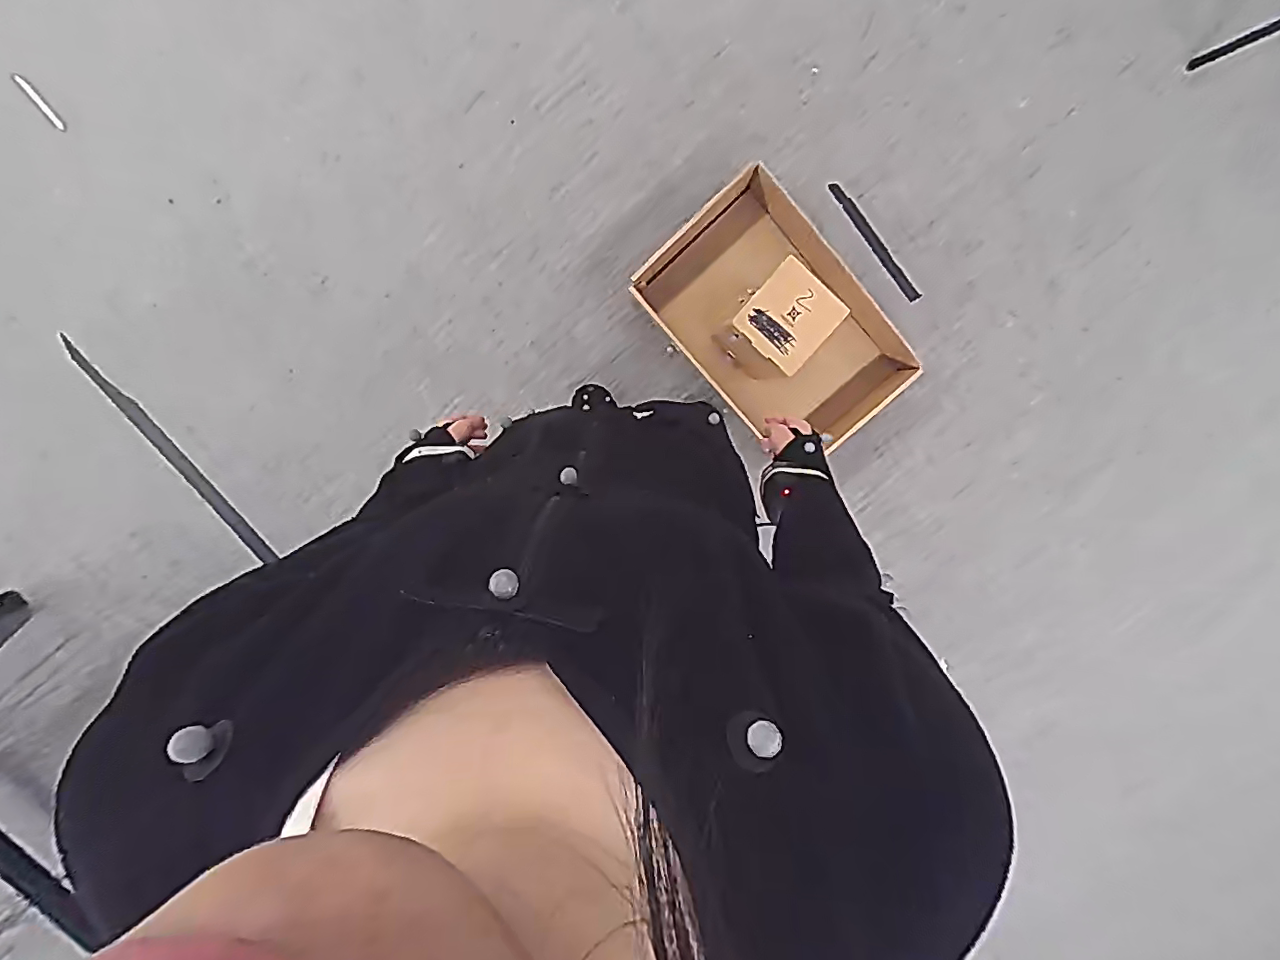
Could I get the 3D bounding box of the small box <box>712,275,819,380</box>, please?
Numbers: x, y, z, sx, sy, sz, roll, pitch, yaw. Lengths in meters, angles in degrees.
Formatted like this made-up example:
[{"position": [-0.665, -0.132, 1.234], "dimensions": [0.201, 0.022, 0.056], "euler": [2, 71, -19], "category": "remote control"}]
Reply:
[{"position": [0.292, -0.361, 1.309], "dimensions": [0.168, 0.176, 0.179], "euler": [42, 98, -6], "category": "small box"}]
